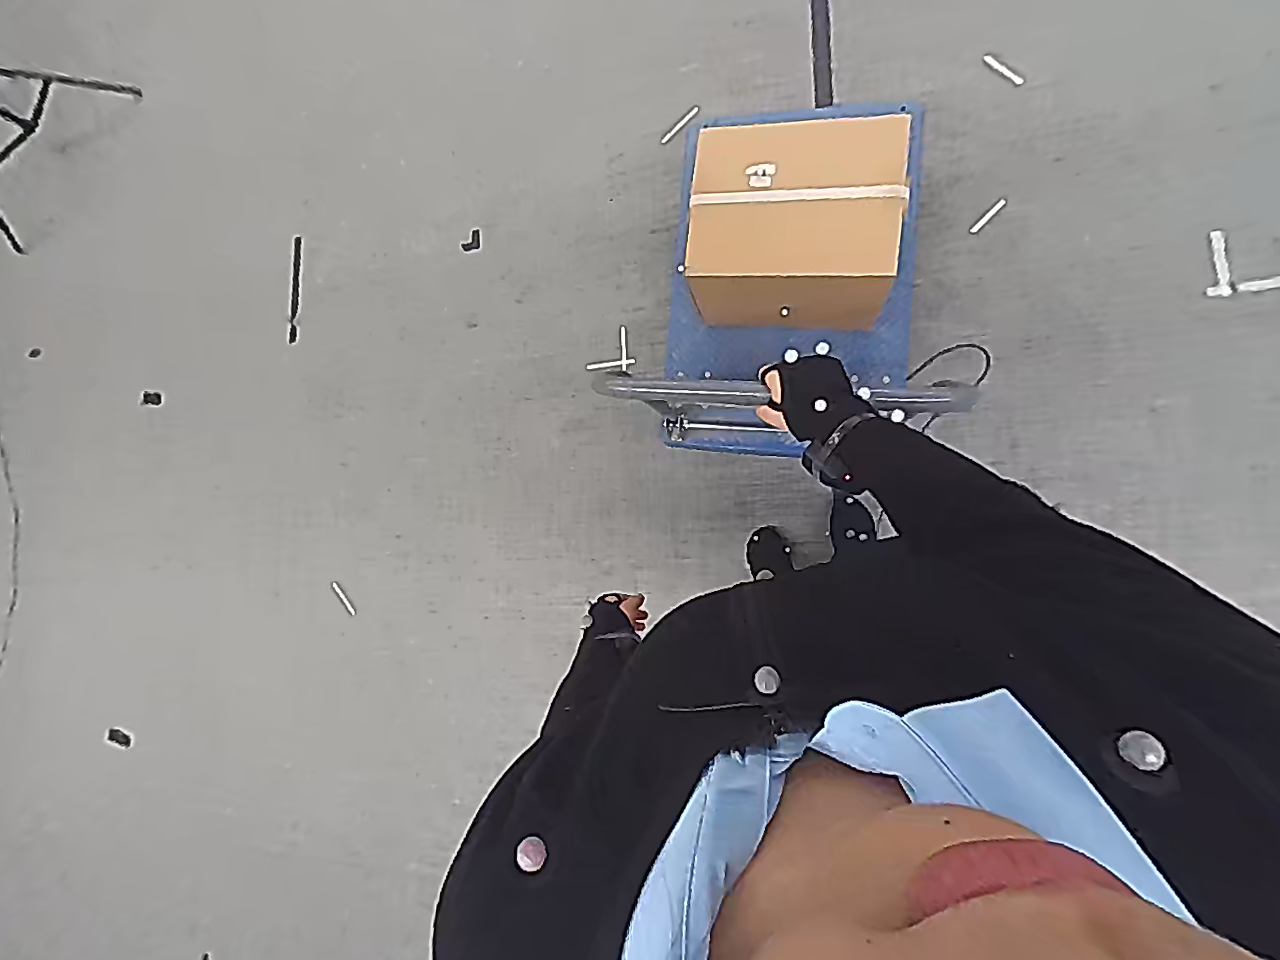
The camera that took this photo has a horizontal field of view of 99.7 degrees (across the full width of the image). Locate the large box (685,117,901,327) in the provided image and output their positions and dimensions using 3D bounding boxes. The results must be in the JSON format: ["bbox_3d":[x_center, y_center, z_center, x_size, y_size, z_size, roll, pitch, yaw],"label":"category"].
[{"bbox_3d":[0.338,-0.543,1.218,0.408,0.320,0.320,5,86,16],"label":"large box"}]
